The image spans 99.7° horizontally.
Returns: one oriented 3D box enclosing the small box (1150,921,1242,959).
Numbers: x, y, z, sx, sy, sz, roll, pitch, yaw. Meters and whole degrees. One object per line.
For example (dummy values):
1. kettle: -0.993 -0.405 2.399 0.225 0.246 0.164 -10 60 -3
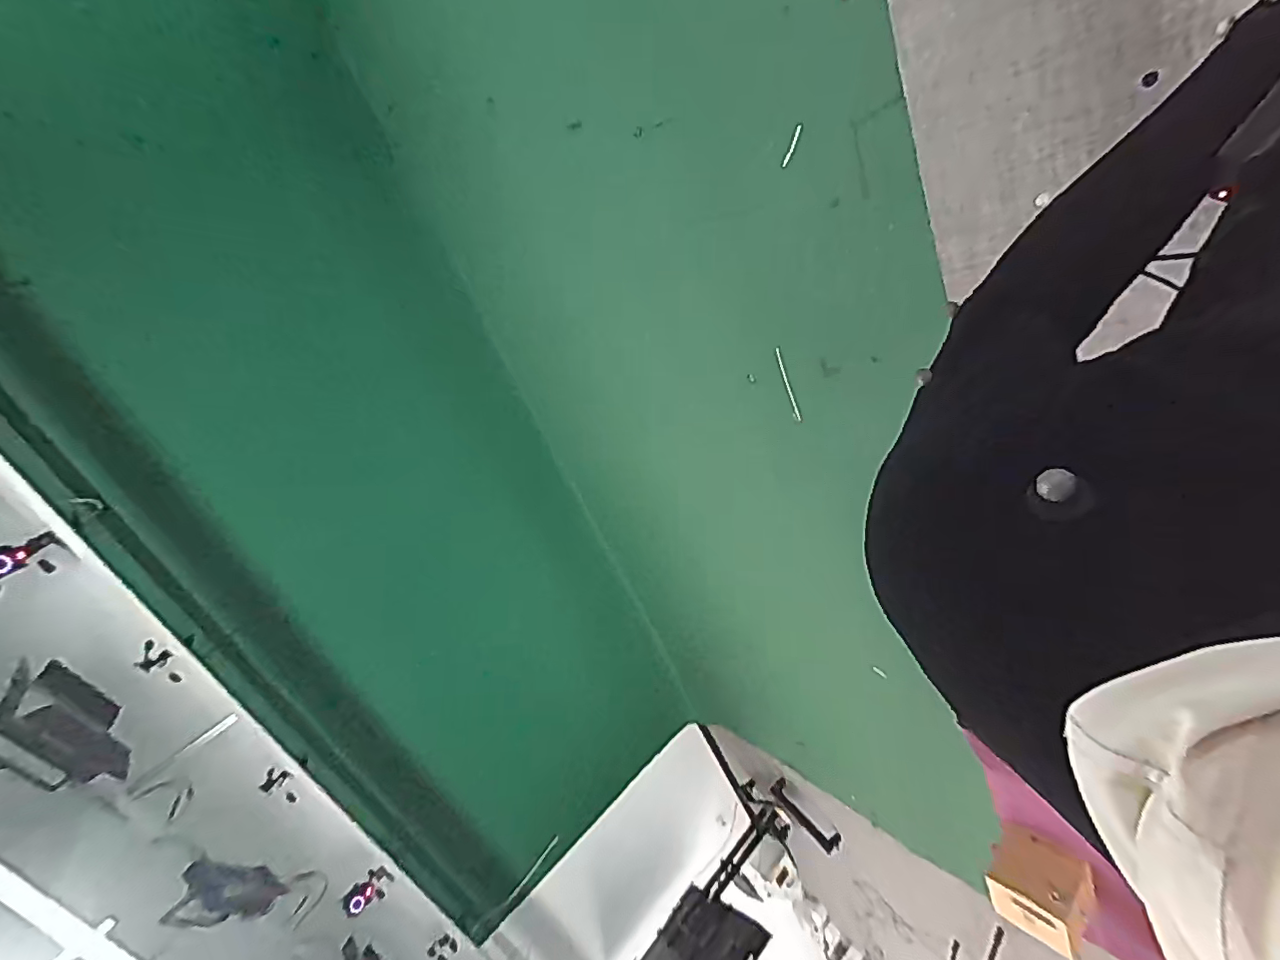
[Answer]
1. small box: 1.203 1.105 1.144 0.168 0.176 0.179 3 124 55
